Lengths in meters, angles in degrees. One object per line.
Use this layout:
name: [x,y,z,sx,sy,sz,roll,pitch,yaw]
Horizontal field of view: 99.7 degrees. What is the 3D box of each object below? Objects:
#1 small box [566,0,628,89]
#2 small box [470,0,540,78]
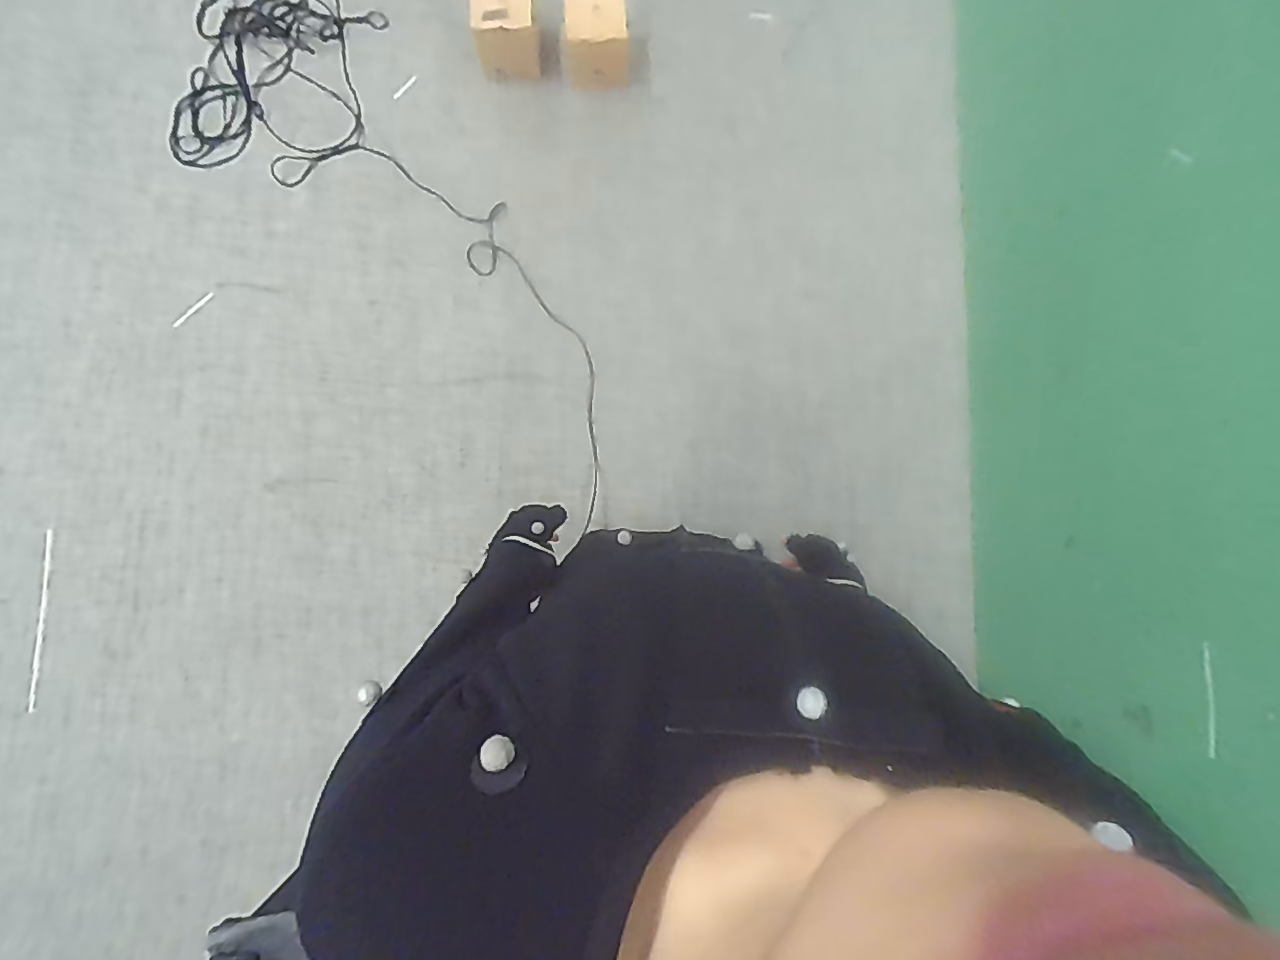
small box: [-0.122,-1.262,1.540,0.168,0.176,0.179,-5,86,-2]
small box: [-0.377,-1.283,1.532,0.168,0.176,0.179,-2,84,-2]
